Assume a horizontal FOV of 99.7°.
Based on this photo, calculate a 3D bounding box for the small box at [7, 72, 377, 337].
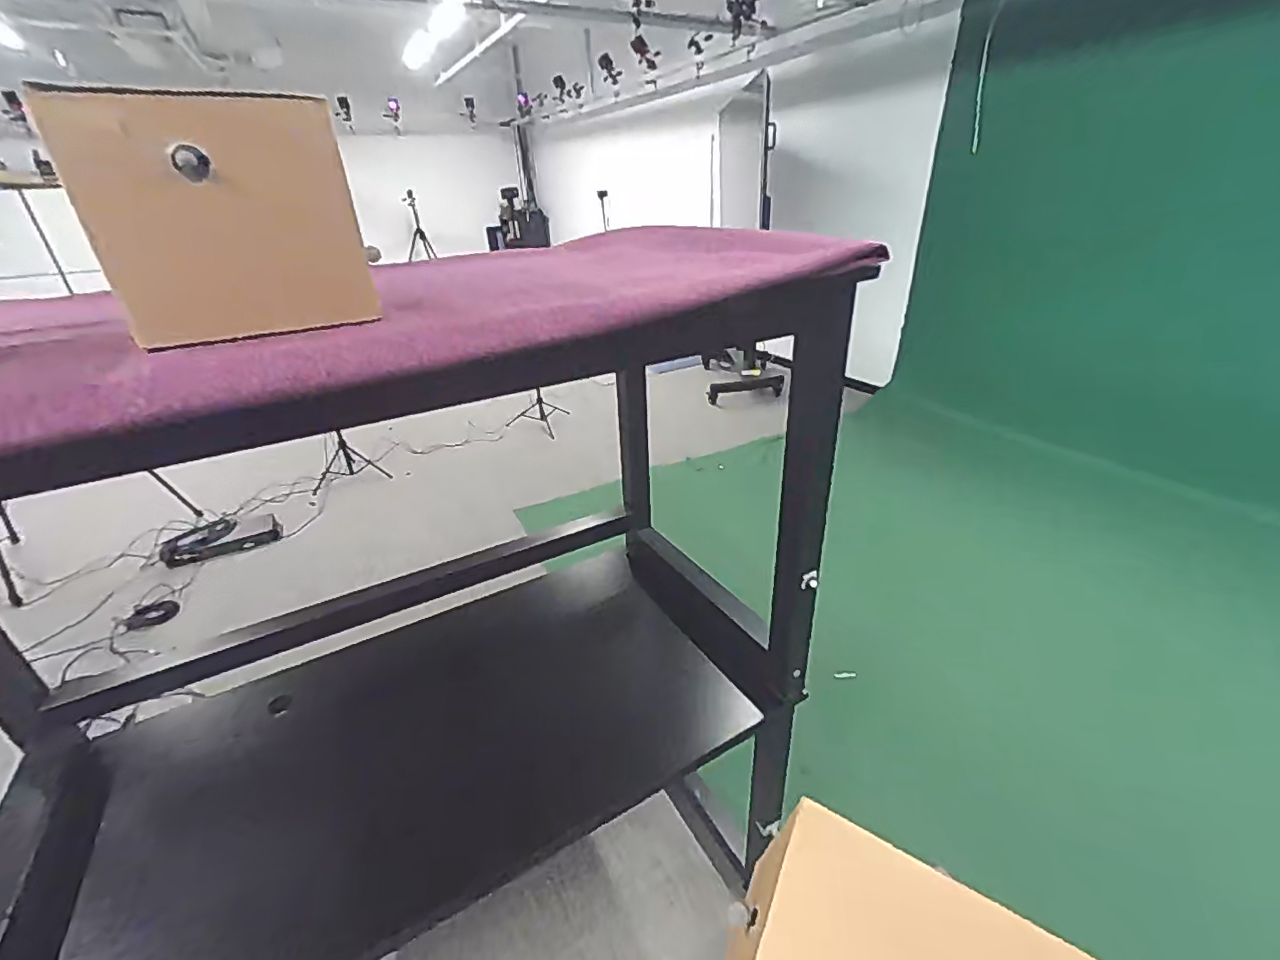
[{"bbox_3d":[-0.348,-0.227,0.466,0.179,0.176,0.168,-17,30,-24],"label":"small box"}]
